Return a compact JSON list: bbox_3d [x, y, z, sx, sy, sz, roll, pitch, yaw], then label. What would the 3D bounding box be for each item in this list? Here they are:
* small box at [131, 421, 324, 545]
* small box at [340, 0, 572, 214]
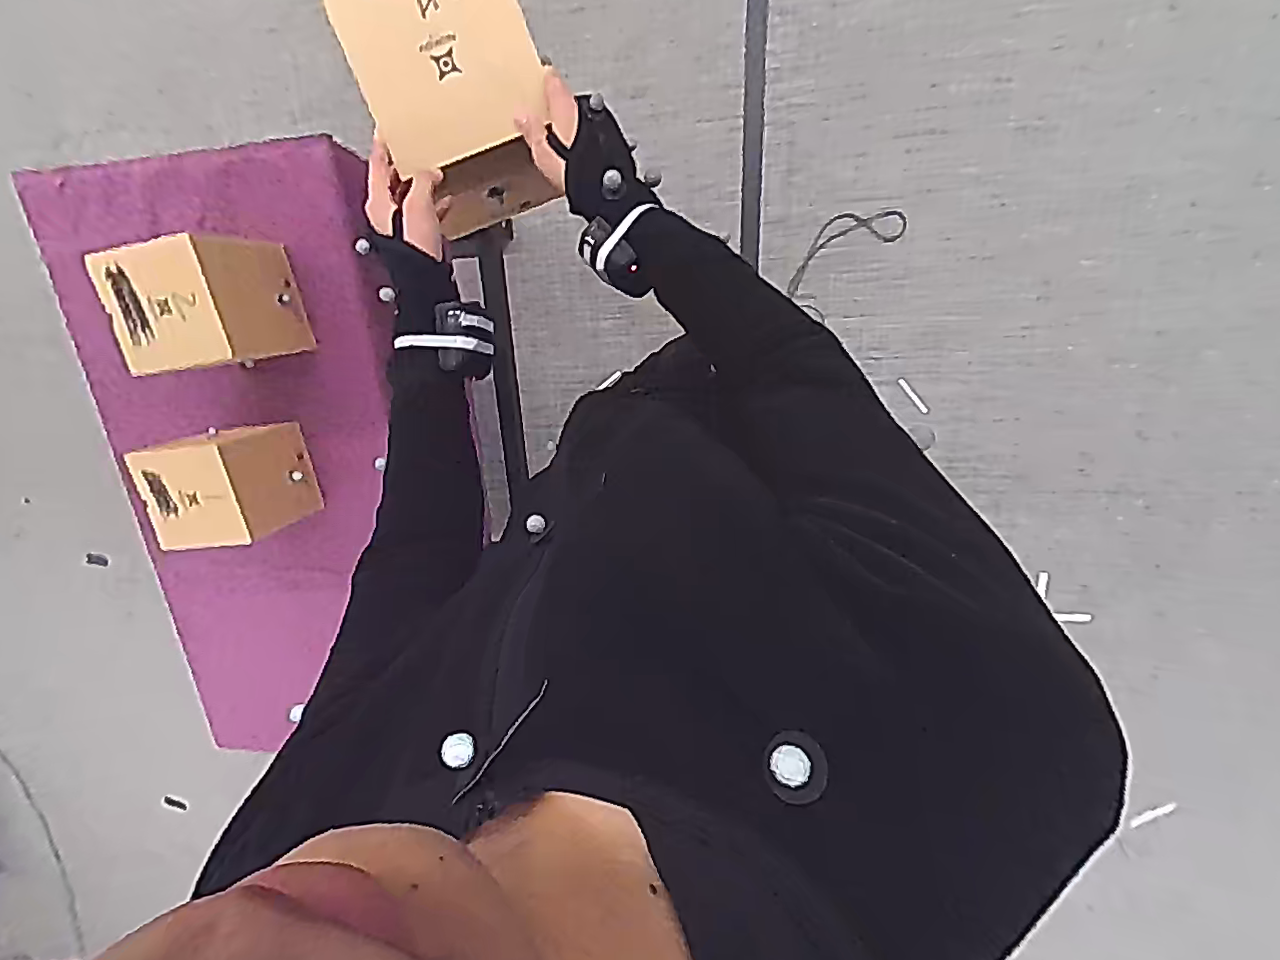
[{"bbox_3d":[-0.694,0.000,0.930,0.179,0.176,0.168,-5,107,11],"label":"small box"},{"bbox_3d":[-0.178,-0.411,0.578,0.168,0.176,0.179,-21,97,-2],"label":"small box"}]
